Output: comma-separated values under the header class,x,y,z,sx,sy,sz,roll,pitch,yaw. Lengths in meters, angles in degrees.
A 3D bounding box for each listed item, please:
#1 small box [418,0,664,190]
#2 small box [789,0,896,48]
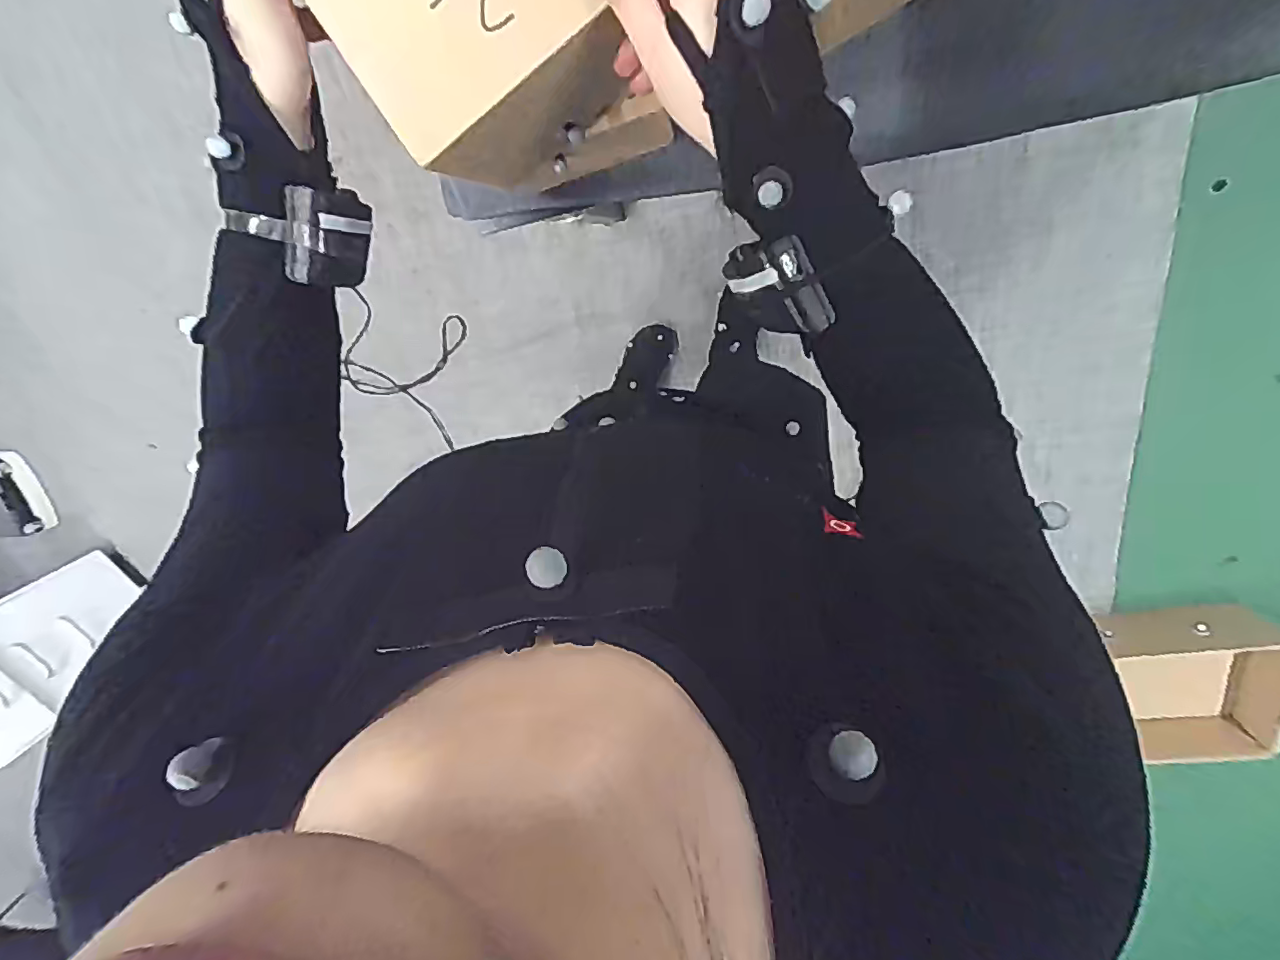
class,x,y,z,sx,sy,sz,roll,pitch,yaw
small box,-0.080,-0.394,0.504,0.168,0.176,0.179,-13,112,13
small box,0.195,-0.493,0.424,0.179,0.176,0.168,-24,109,17
